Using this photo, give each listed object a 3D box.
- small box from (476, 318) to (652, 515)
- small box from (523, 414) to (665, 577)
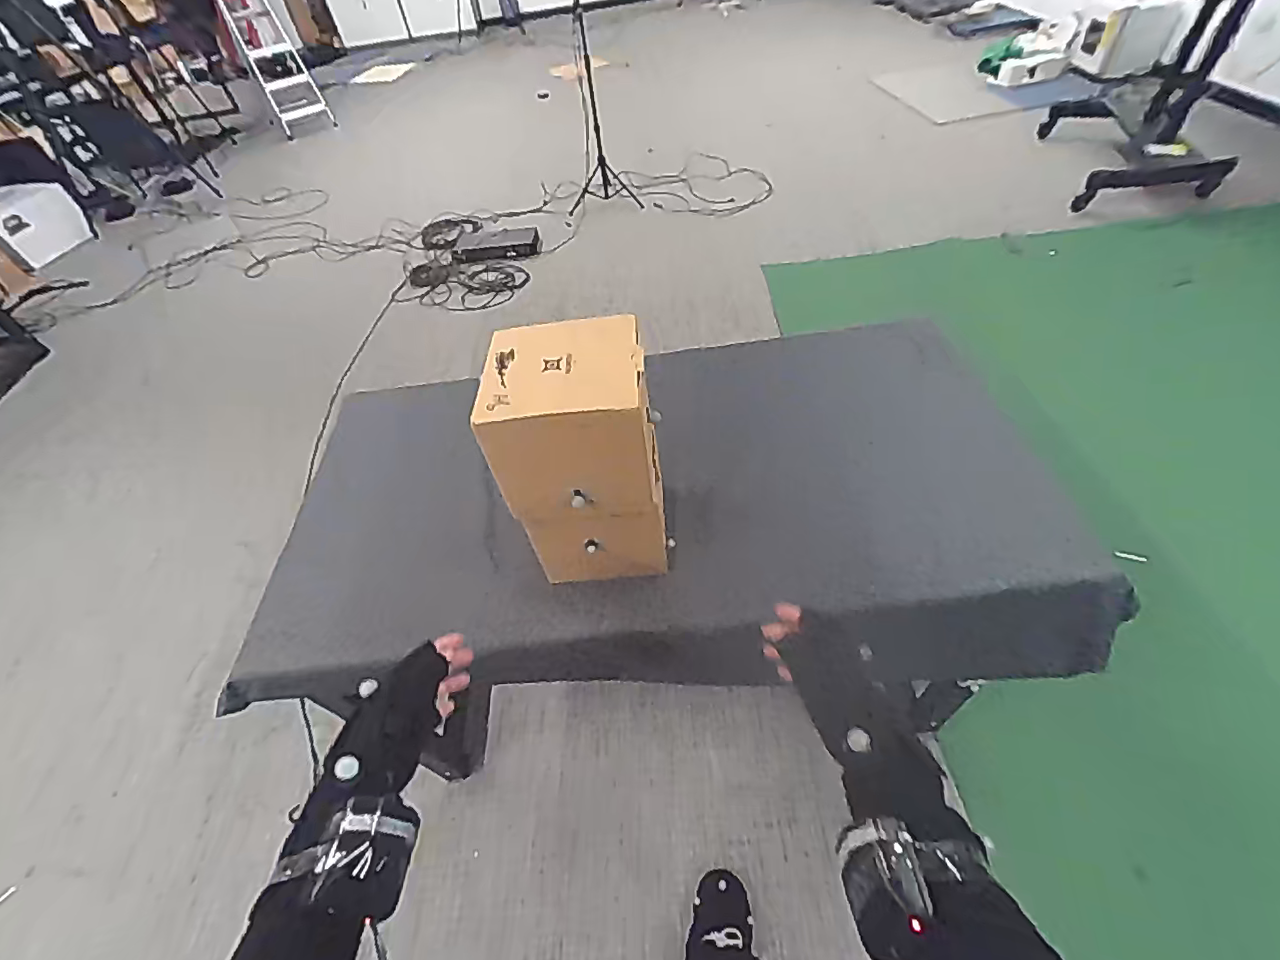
[{"bbox_3d":[-0.076,-0.073,0.655,0.179,0.176,0.168,-4,49,3],"label":"small box"},{"bbox_3d":[-0.055,0.026,0.784,0.179,0.176,0.168,-6,49,4],"label":"small box"}]
